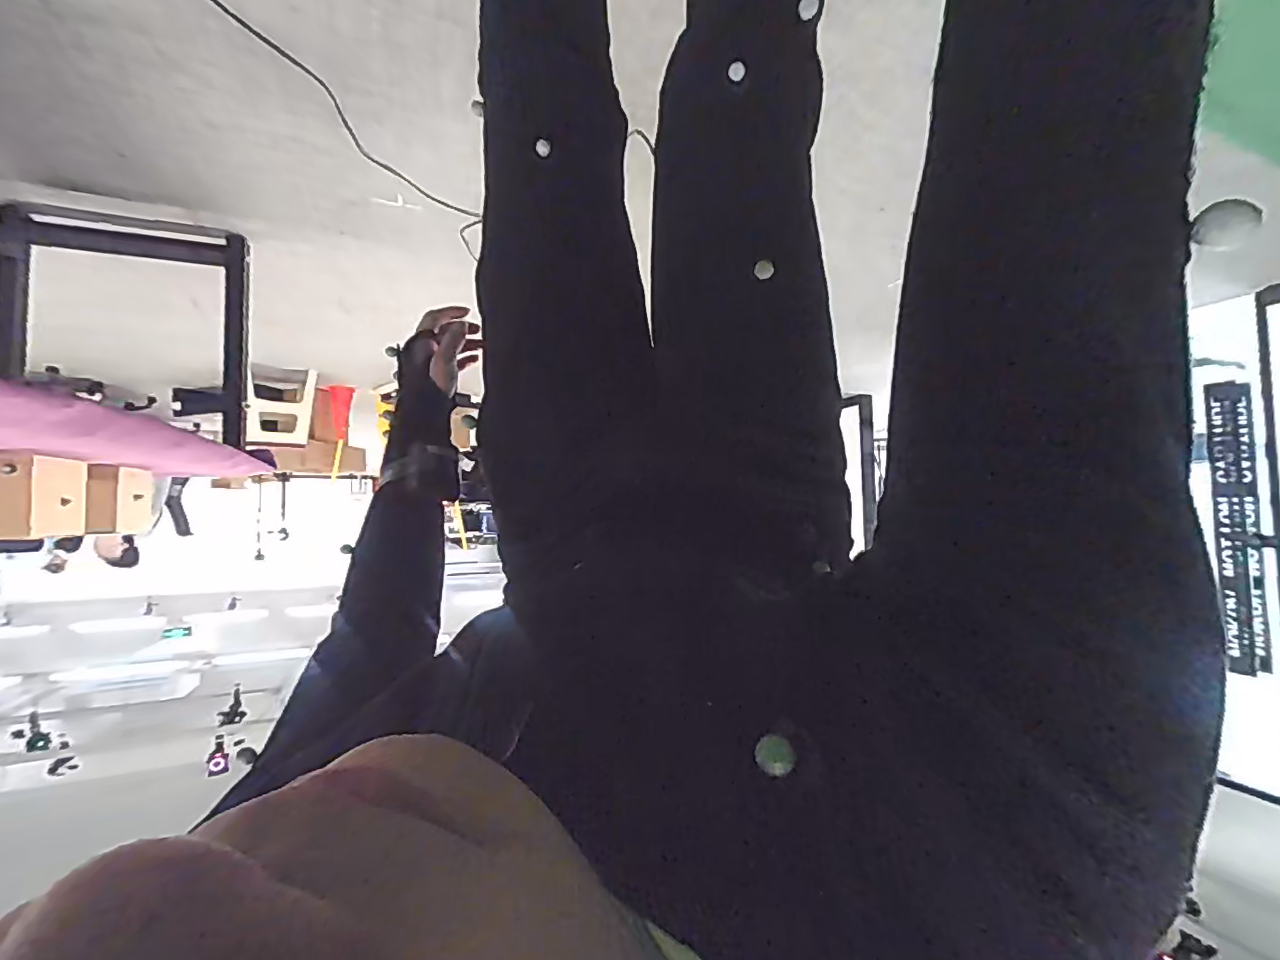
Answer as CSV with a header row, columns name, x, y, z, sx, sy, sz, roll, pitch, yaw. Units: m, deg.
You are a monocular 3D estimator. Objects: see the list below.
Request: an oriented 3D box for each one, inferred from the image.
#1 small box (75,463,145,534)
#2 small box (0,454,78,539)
name,x,y,z,sx,sy,sz,roll,pitch,yaw
small box,-1.394,0.047,1.359,0.179,0.176,0.168,-1,177,-20
small box,-1.289,0.032,1.088,0.168,0.176,0.179,0,178,-20
